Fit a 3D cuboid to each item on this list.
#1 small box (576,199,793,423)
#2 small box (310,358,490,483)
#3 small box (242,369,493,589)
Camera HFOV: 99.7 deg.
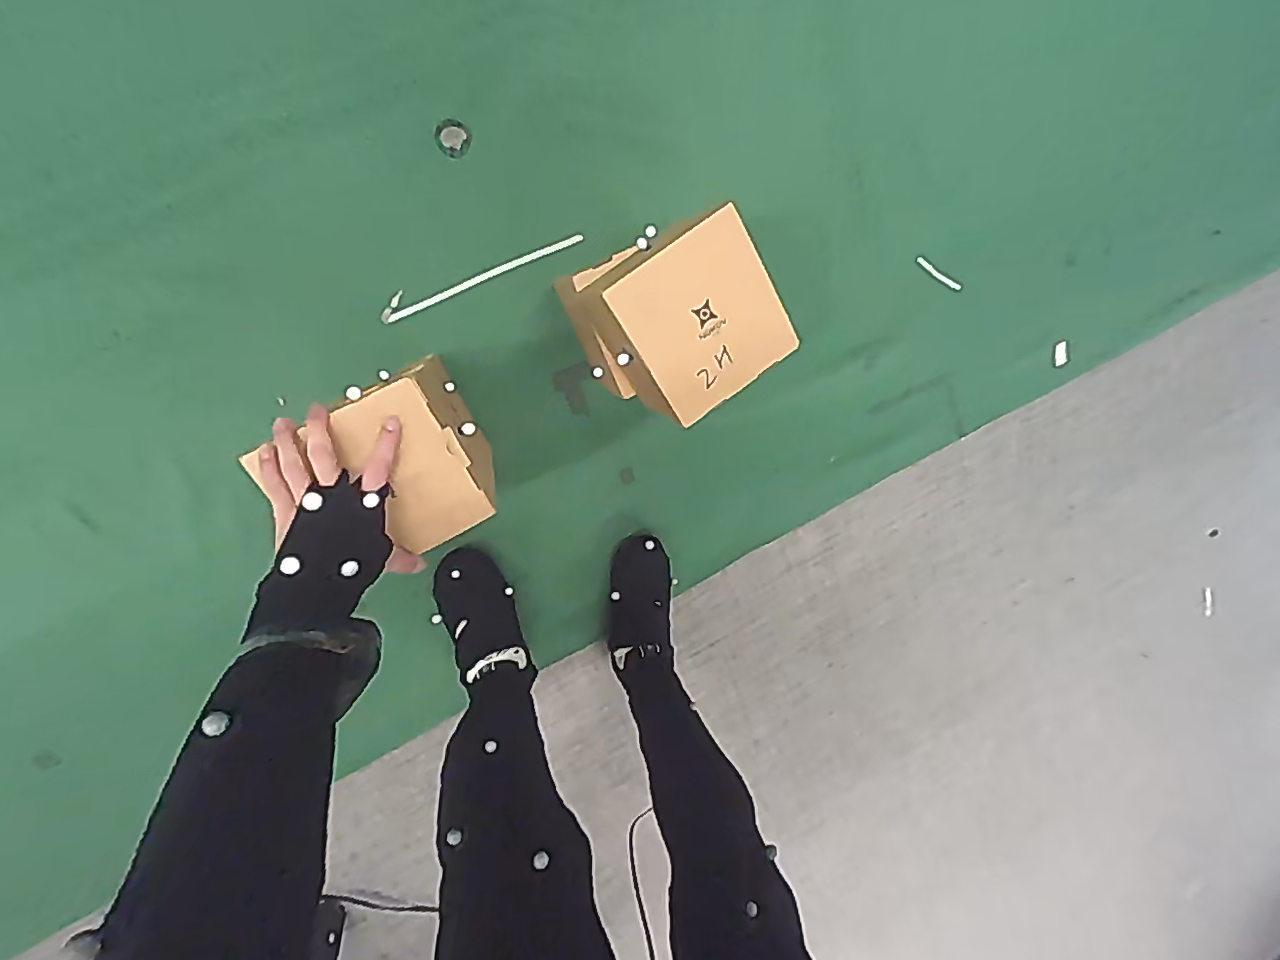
[{"bbox_3d":[0.043,-0.196,0.645,0.168,0.176,0.179,-36,114,-2],"label":"small box"},{"bbox_3d":[-0.325,-0.057,0.765,0.168,0.176,0.179,-29,111,-5],"label":"small box"},{"bbox_3d":[-0.285,-0.015,0.612,0.179,0.176,0.168,-28,111,-6],"label":"small box"}]
